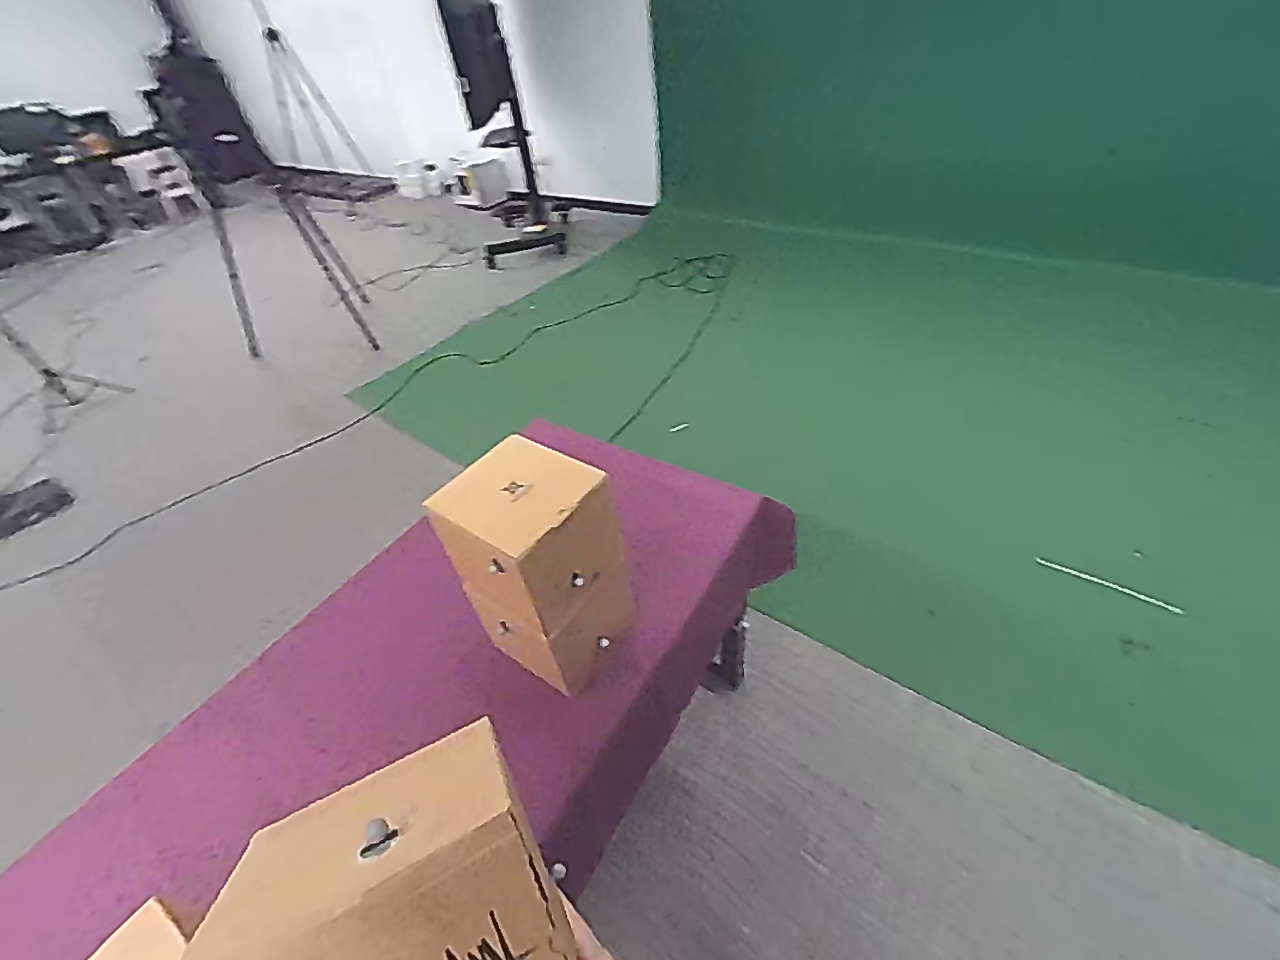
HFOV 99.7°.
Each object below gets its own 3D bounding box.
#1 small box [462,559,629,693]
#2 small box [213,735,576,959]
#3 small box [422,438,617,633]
[{"bbox_3d":[-0.136,0.196,0.840,0.179,0.176,0.168,23,51,29],"label":"small box"},{"bbox_3d":[-0.143,0.298,0.347,0.179,0.168,0.176,-20,1,-20],"label":"small box"},{"bbox_3d":[-0.151,0.075,0.732,0.179,0.176,0.168,23,51,28],"label":"small box"}]
